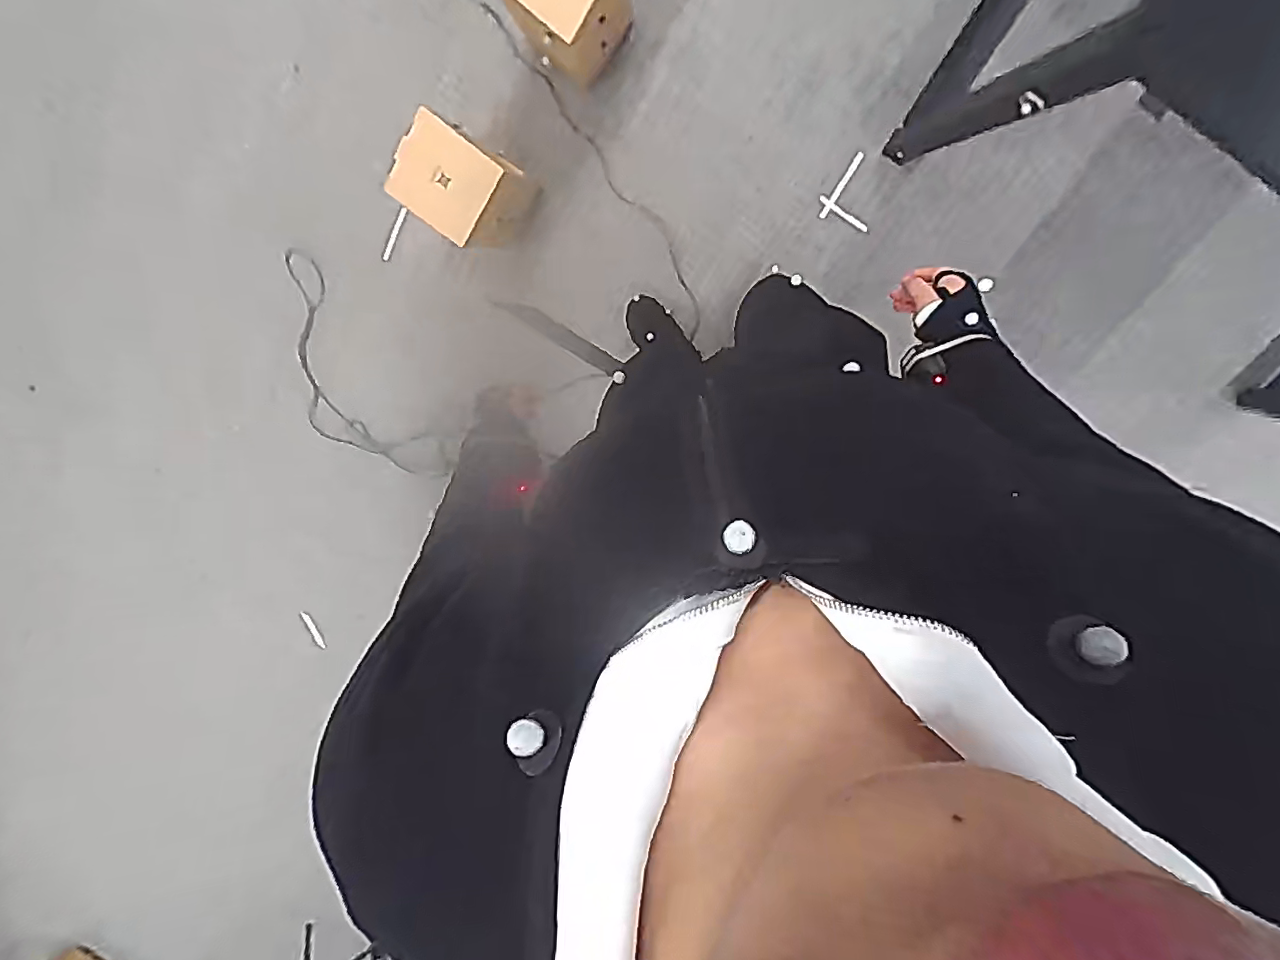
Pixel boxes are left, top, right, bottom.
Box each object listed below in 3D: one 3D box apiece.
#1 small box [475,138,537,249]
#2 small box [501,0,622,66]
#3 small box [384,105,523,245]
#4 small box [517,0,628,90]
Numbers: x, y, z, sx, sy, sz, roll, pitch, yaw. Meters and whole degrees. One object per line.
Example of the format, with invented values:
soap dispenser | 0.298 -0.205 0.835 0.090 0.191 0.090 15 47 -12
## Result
small box | -0.352 -0.645 1.220 0.168 0.176 0.179 30 112 -10
small box | -0.138 -0.866 0.936 0.179 0.176 0.168 34 109 -11
small box | -0.359 -0.586 1.068 0.179 0.176 0.168 34 111 -12
small box | -0.137 -0.938 1.085 0.168 0.176 0.179 37 110 -12
